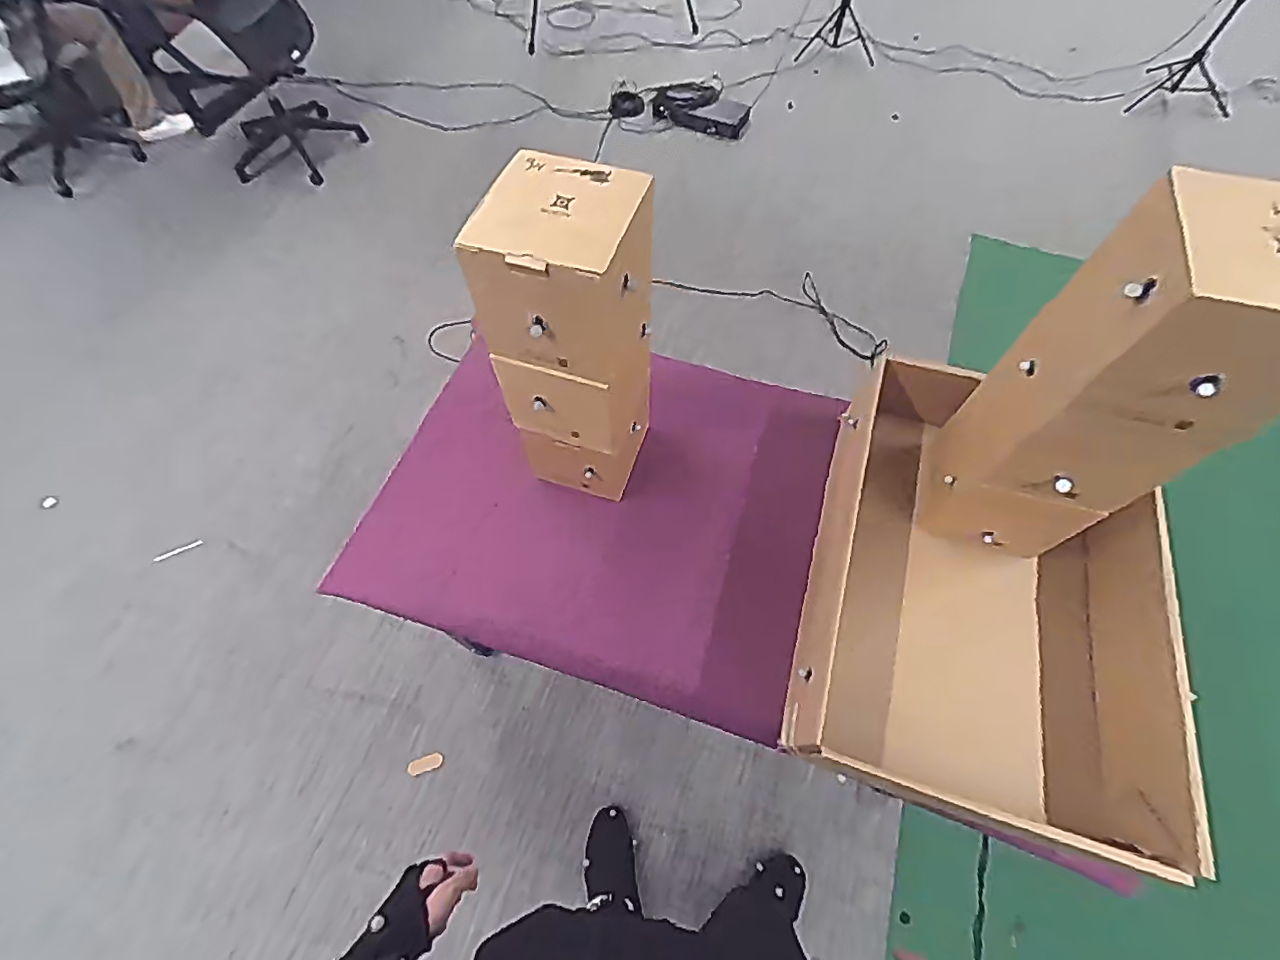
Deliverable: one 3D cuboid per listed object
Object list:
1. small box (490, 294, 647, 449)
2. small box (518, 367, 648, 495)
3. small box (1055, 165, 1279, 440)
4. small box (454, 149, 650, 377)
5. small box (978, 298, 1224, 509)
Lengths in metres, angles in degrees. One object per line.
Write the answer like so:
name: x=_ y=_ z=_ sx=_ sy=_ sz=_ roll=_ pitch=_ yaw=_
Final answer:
small box: x=-0.091 y=-0.170 z=0.791 sx=0.168 sy=0.176 sz=0.179 roll=16 pitch=63 yaw=9
small box: x=-0.087 y=-0.097 z=0.936 sx=0.168 sy=0.176 sz=0.179 roll=17 pitch=63 yaw=8
small box: x=0.544 y=-0.163 z=0.526 sx=0.168 sy=0.176 sz=0.179 roll=16 pitch=64 yaw=9
small box: x=-0.089 y=-0.252 z=0.649 sx=0.168 sy=0.176 sz=0.179 roll=16 pitch=63 yaw=8
small box: x=0.549 y=-0.090 z=0.675 sx=0.168 sy=0.176 sz=0.179 roll=14 pitch=65 yaw=10
